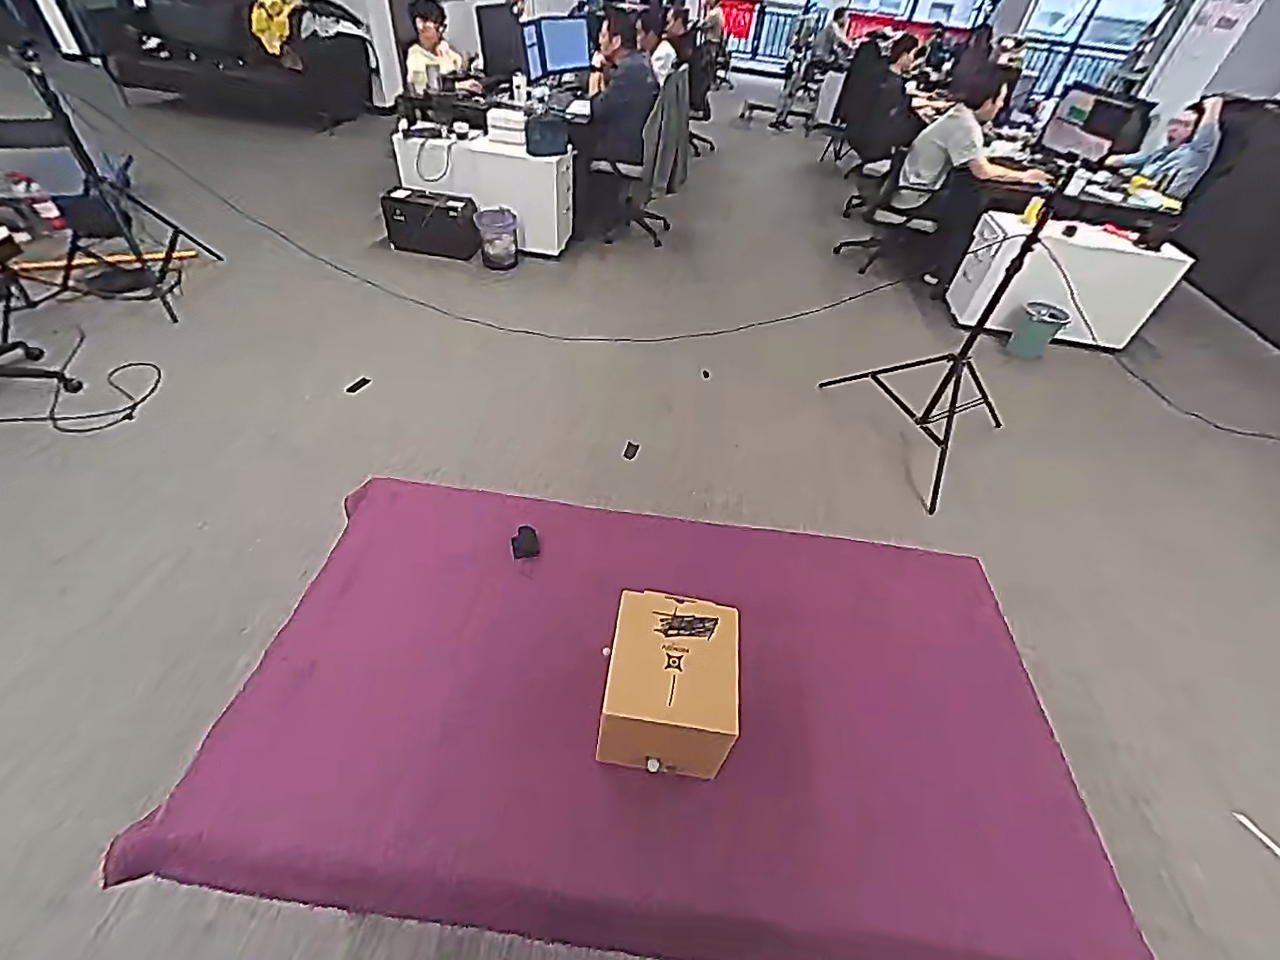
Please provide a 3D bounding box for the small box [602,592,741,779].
[{"bbox_3d":[0.042,0.286,0.753,0.168,0.176,0.179,8,44,1],"label":"small box"}]
